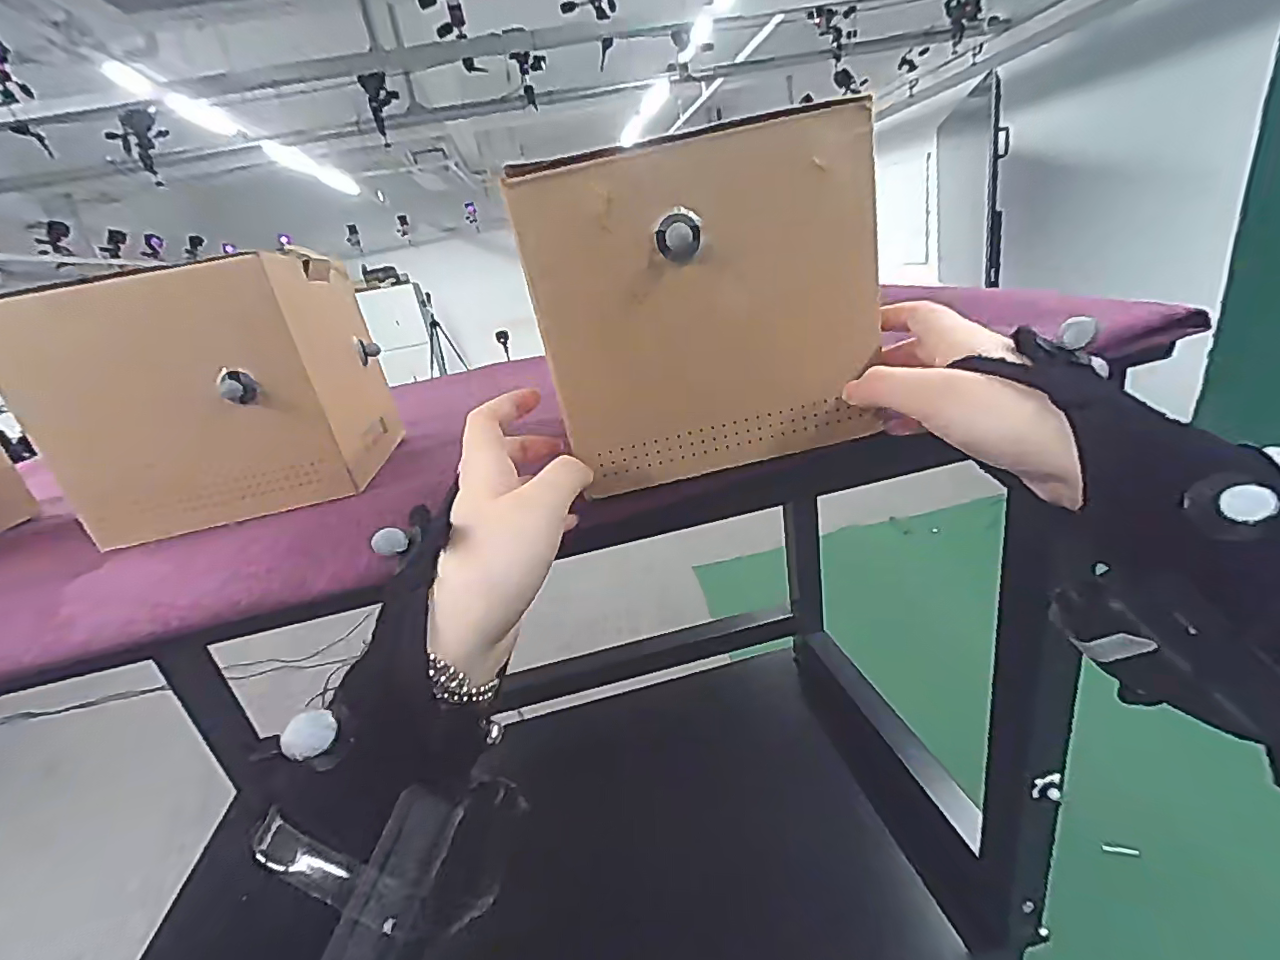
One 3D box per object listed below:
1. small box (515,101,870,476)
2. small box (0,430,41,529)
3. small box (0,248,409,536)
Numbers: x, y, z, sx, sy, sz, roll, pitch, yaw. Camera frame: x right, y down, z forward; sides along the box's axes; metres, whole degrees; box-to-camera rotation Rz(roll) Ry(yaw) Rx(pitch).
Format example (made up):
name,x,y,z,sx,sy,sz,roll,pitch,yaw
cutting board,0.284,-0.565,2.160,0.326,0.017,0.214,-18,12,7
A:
name,x,y,z,sx,sy,sz,roll,pitch,yaw
small box,0.033,-0.115,0.359,0.179,0.176,0.168,-12,22,-1
small box,-0.618,-0.007,0.387,0.168,0.176,0.179,-12,22,-7
small box,-0.307,-0.077,0.430,0.179,0.176,0.168,-14,21,-7
